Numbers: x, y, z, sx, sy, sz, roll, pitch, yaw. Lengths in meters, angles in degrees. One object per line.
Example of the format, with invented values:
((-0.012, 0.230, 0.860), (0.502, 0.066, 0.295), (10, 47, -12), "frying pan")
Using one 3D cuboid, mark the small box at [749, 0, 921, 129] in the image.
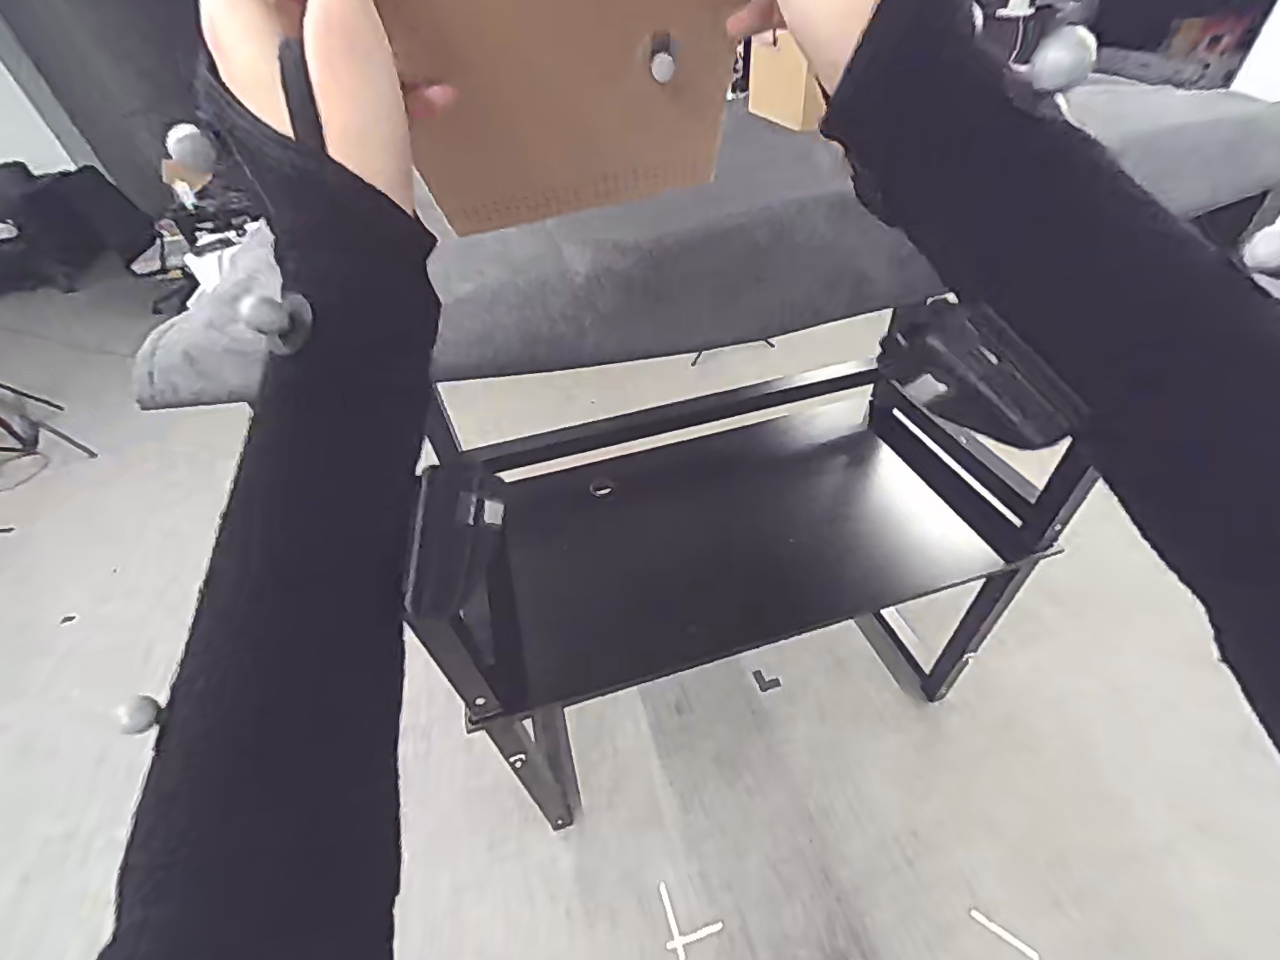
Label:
((0.266, -0.621, 0.777), (0.168, 0.176, 0.179), (-15, 43, -9), "small box")
